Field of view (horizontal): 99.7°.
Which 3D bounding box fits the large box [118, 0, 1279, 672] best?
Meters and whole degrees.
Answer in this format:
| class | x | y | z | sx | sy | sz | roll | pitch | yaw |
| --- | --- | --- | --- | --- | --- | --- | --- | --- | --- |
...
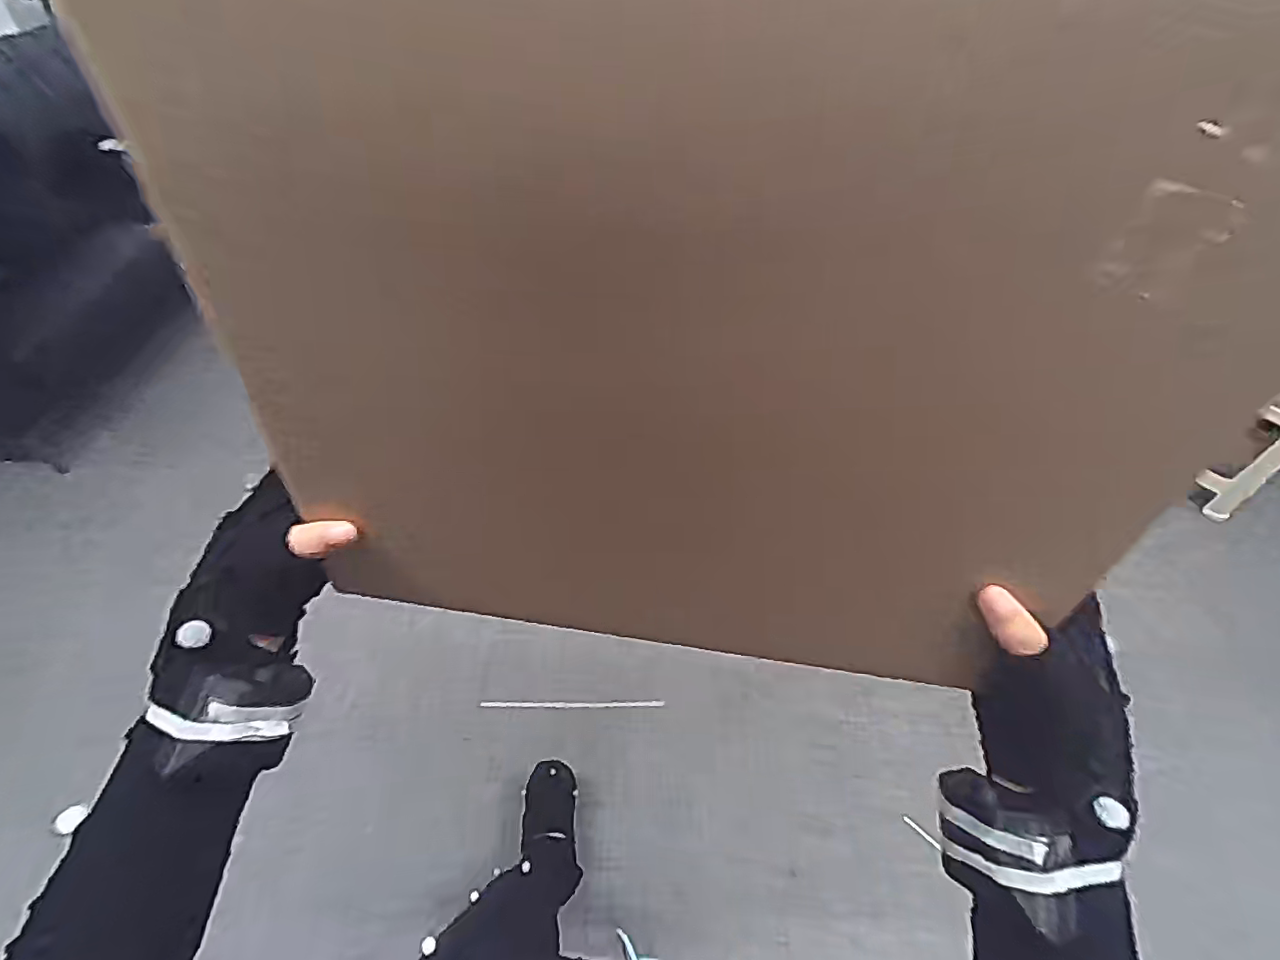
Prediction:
| class | x | y | z | sx | sy | sz | roll | pitch | yaw |
| --- | --- | --- | --- | --- | --- | --- | --- | --- | --- |
| large box | 0.040 | -0.114 | 0.350 | 0.408 | 0.320 | 0.320 | 8 | 40 | 2 |
